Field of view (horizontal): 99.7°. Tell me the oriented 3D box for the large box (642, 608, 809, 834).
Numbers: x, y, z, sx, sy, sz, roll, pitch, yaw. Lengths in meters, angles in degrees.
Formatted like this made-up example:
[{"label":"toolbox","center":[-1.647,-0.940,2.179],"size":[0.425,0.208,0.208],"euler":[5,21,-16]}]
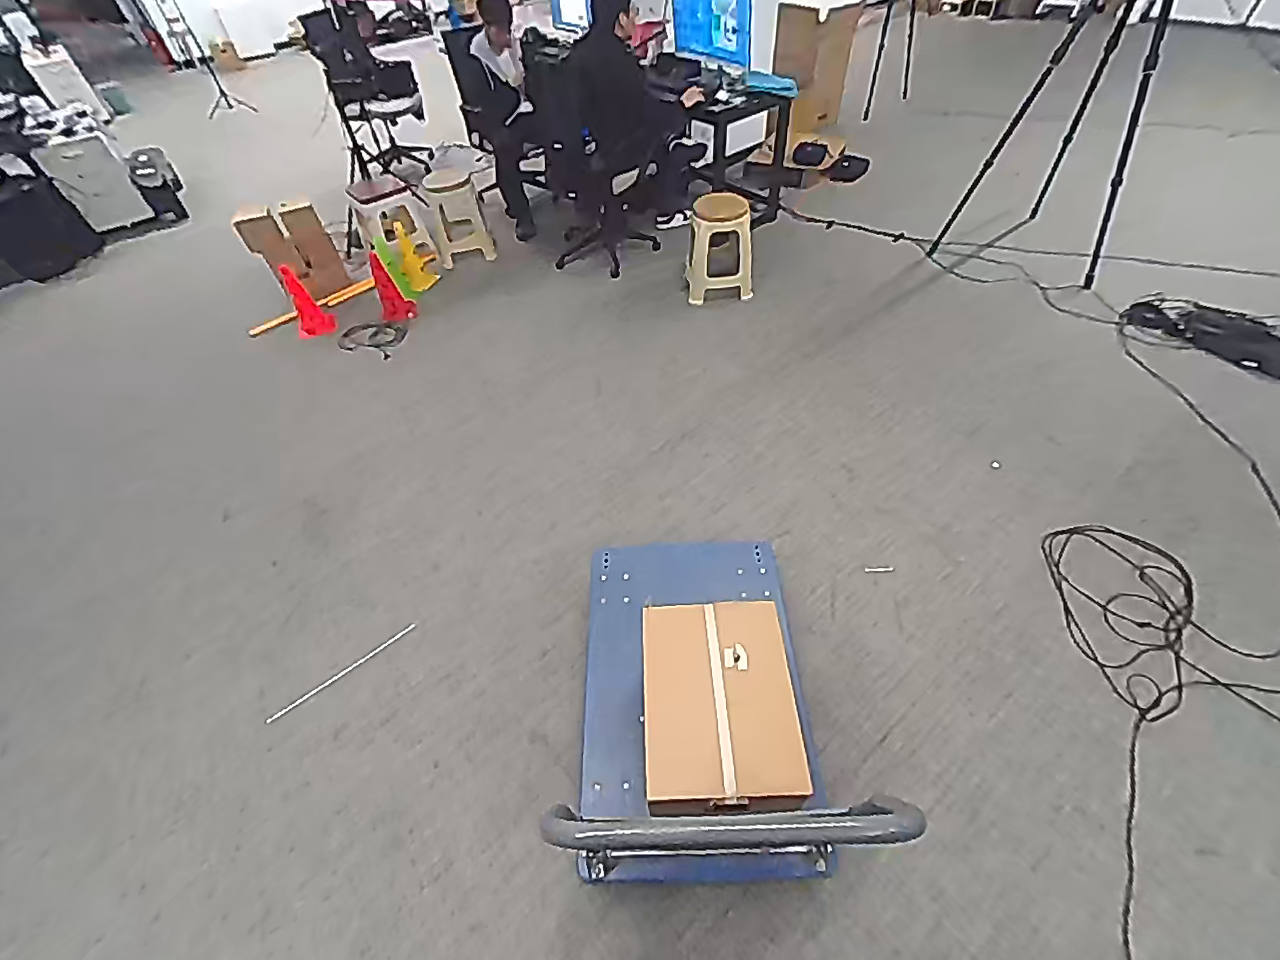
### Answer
[{"label":"large box","center":[0.174,0.561,1.265],"size":[0.320,0.320,0.408],"euler":[-3,48,1]}]
